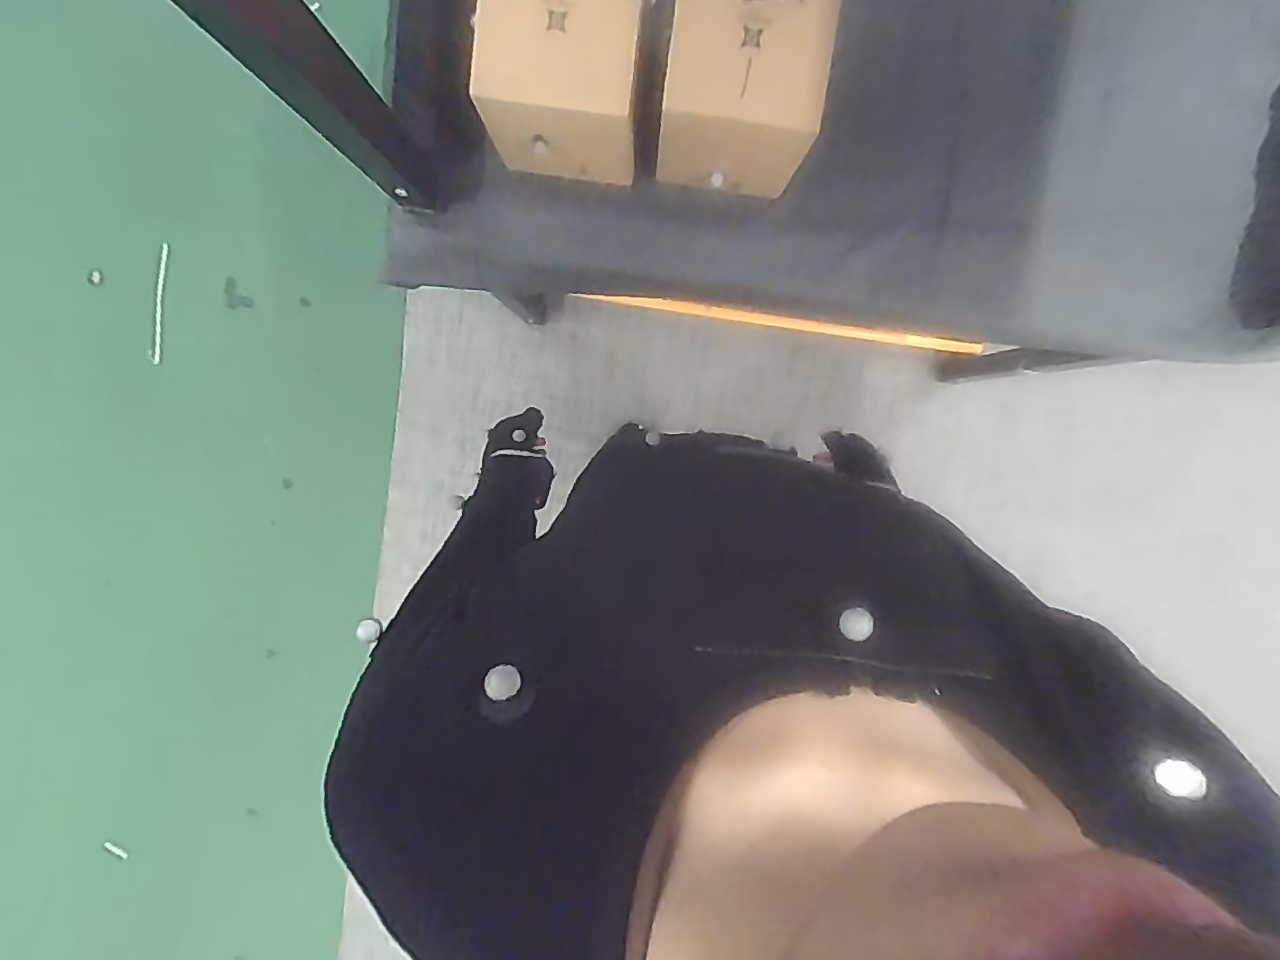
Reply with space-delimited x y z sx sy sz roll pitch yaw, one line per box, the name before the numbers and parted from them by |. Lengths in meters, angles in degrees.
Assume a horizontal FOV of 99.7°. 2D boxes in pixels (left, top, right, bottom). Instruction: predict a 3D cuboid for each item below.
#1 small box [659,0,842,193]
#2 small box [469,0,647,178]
small box | 0.114 -0.461 0.616 0.168 0.176 0.179 9 96 0
small box | -0.082 -0.475 0.616 0.168 0.176 0.179 7 95 -1
